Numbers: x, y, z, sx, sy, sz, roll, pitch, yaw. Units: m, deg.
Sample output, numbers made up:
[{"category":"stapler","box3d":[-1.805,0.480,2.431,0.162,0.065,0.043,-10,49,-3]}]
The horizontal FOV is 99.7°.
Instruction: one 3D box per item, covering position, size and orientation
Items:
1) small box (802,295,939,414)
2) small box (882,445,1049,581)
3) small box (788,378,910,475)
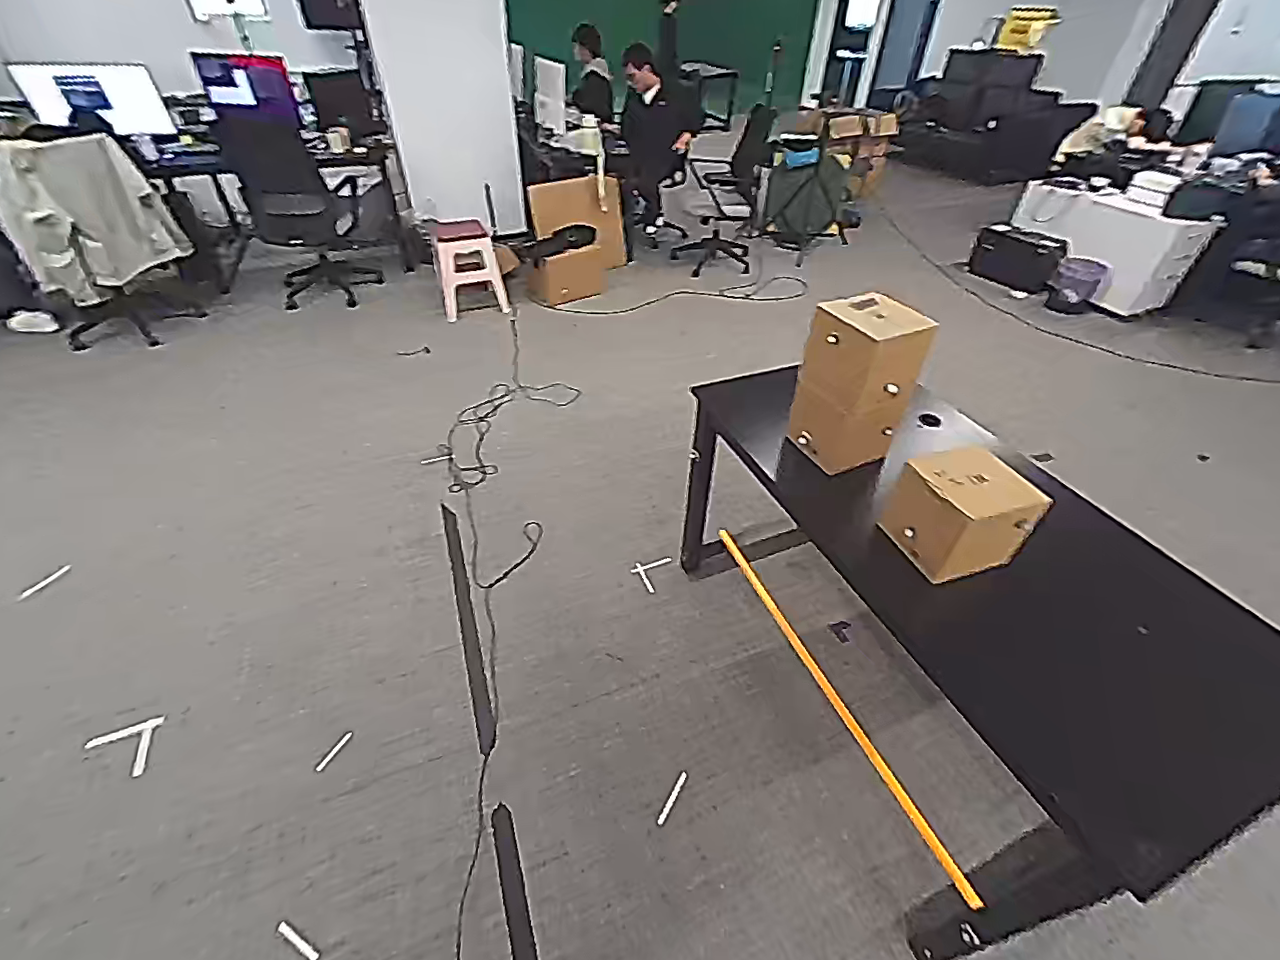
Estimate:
[{"category":"small box","box3d":[0.464,-0.261,1.120,0.168,0.176,0.179,-18,45,-21]},{"category":"small box","box3d":[0.590,0.062,1.006,0.179,0.176,0.168,-12,43,-15]},{"category":"small box","box3d":[0.464,-0.138,1.229,0.179,0.176,0.168,-18,44,-20]}]
